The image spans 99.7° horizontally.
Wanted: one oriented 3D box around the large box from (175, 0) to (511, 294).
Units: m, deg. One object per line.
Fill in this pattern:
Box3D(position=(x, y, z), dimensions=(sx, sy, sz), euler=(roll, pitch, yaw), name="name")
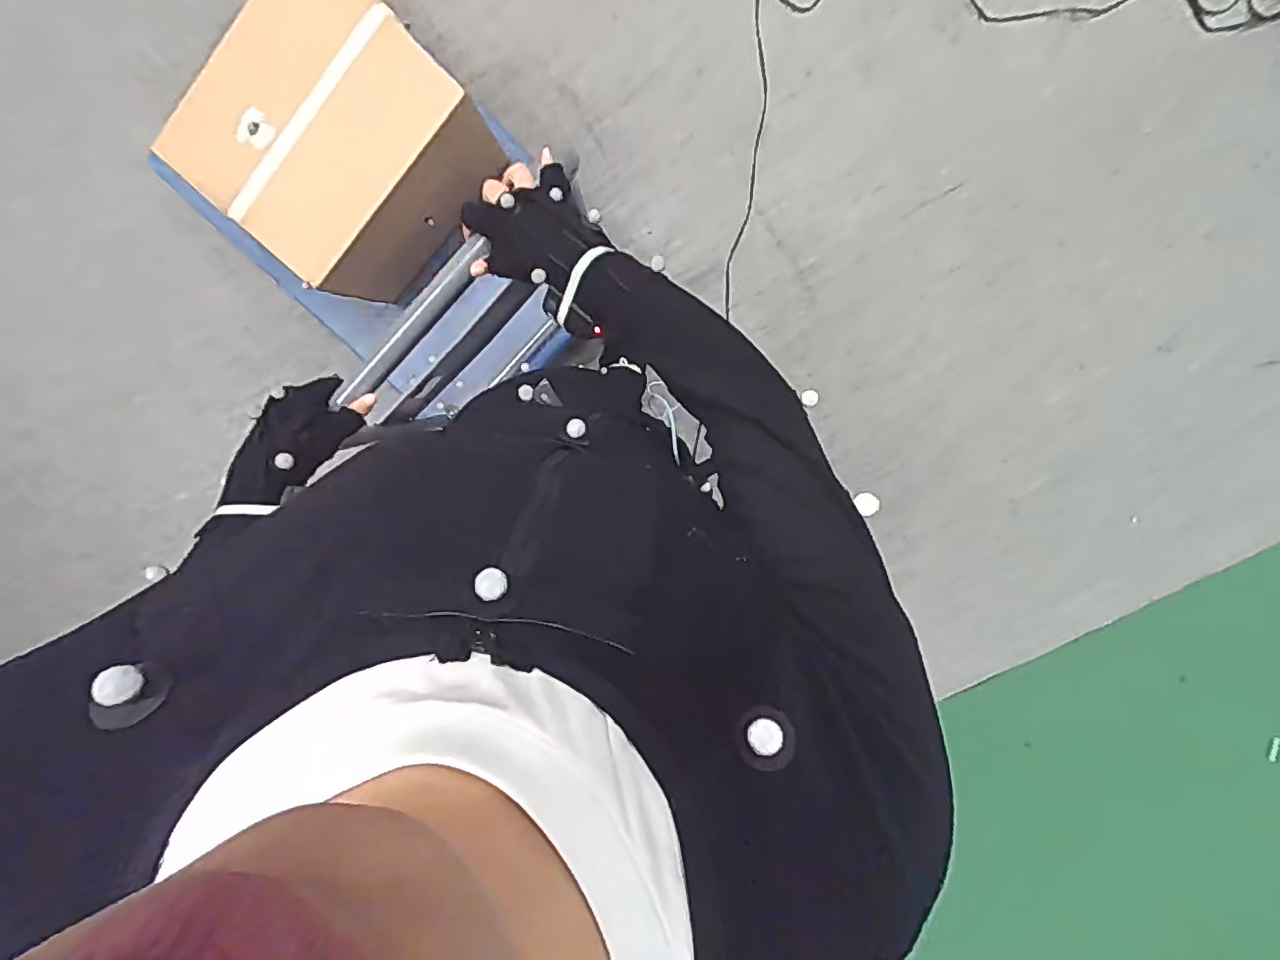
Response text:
Box3D(position=(-0.507, -0.613, 1.003), dimensions=(0.320, 0.320, 0.408), euler=(42, 101, -9), name="large box")
